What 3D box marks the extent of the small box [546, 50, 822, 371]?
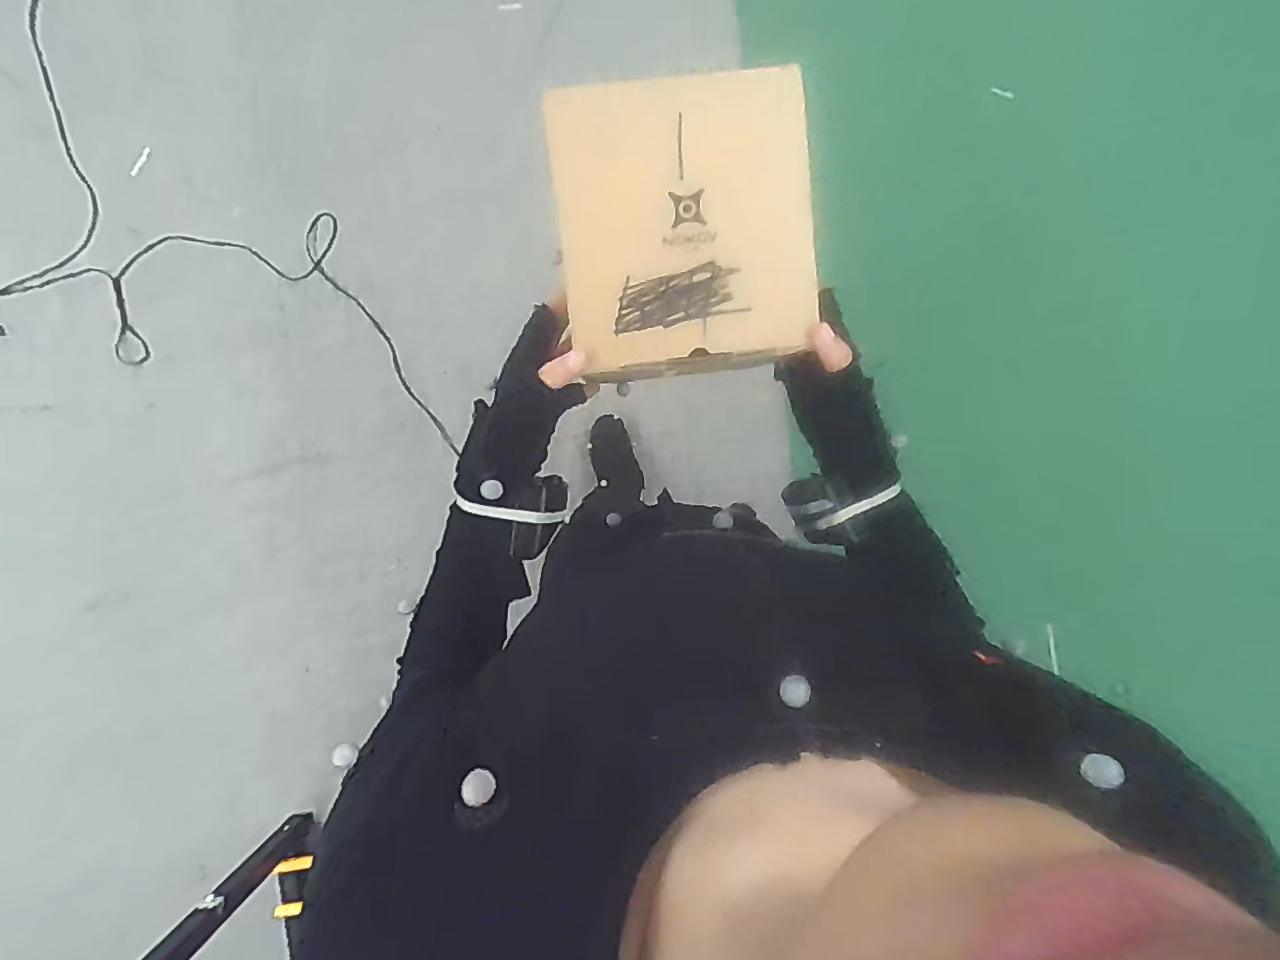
[{"bbox_3d":[0.028,-0.182,0.422,0.168,0.176,0.179,-7,97,-2],"label":"small box"}]
